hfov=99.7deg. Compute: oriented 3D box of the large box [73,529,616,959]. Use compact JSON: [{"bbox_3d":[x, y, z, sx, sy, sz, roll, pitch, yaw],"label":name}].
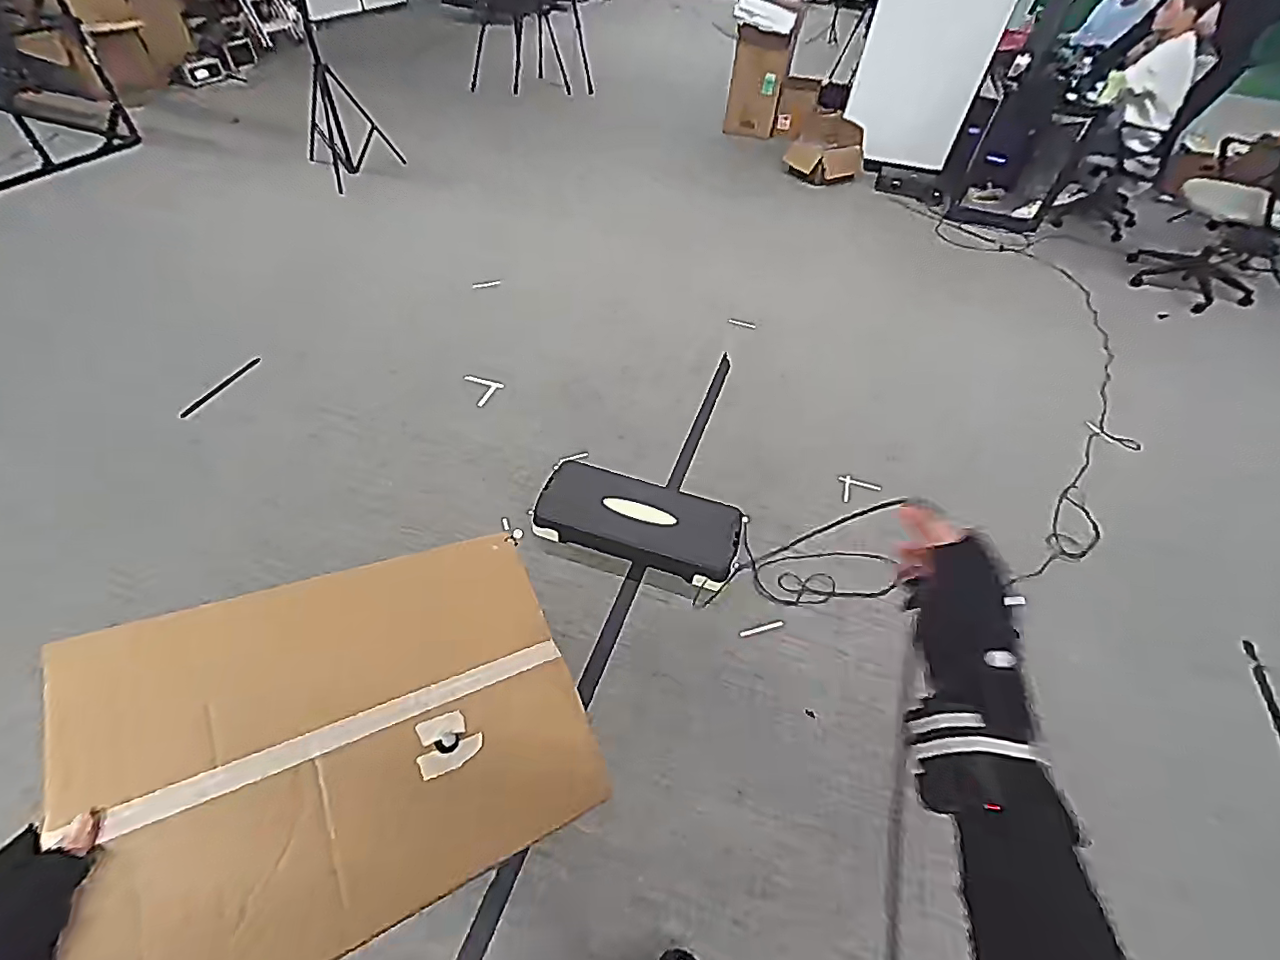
[{"bbox_3d":[-0.305,0.305,0.614,0.408,0.320,0.320,-13,63,-33],"label":"large box"}]
